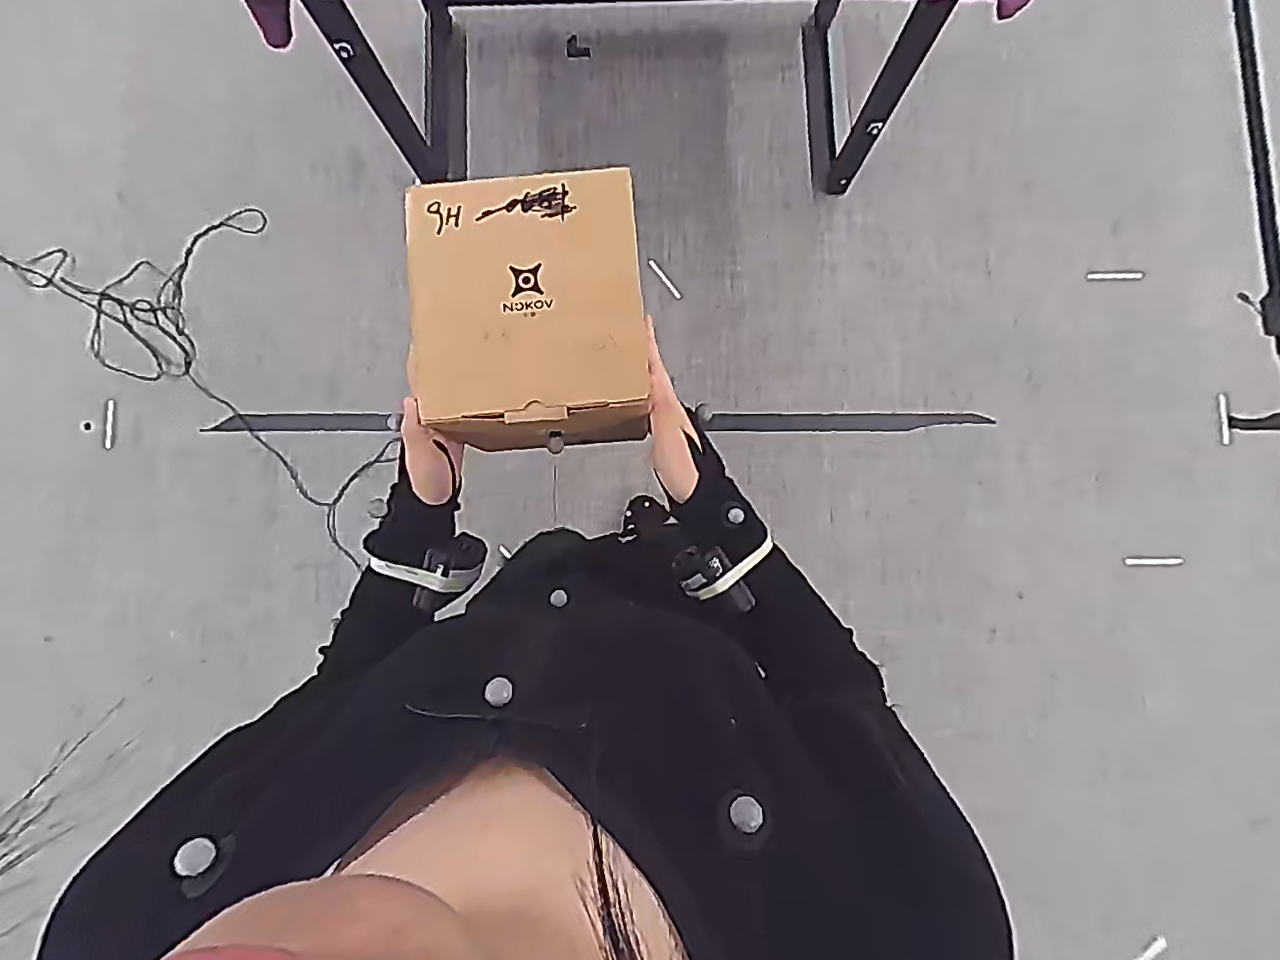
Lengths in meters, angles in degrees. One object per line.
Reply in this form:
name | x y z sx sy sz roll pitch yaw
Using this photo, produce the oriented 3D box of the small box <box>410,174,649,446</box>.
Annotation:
small box | -0.079 -0.126 0.468 0.168 0.176 0.179 -5 86 0
